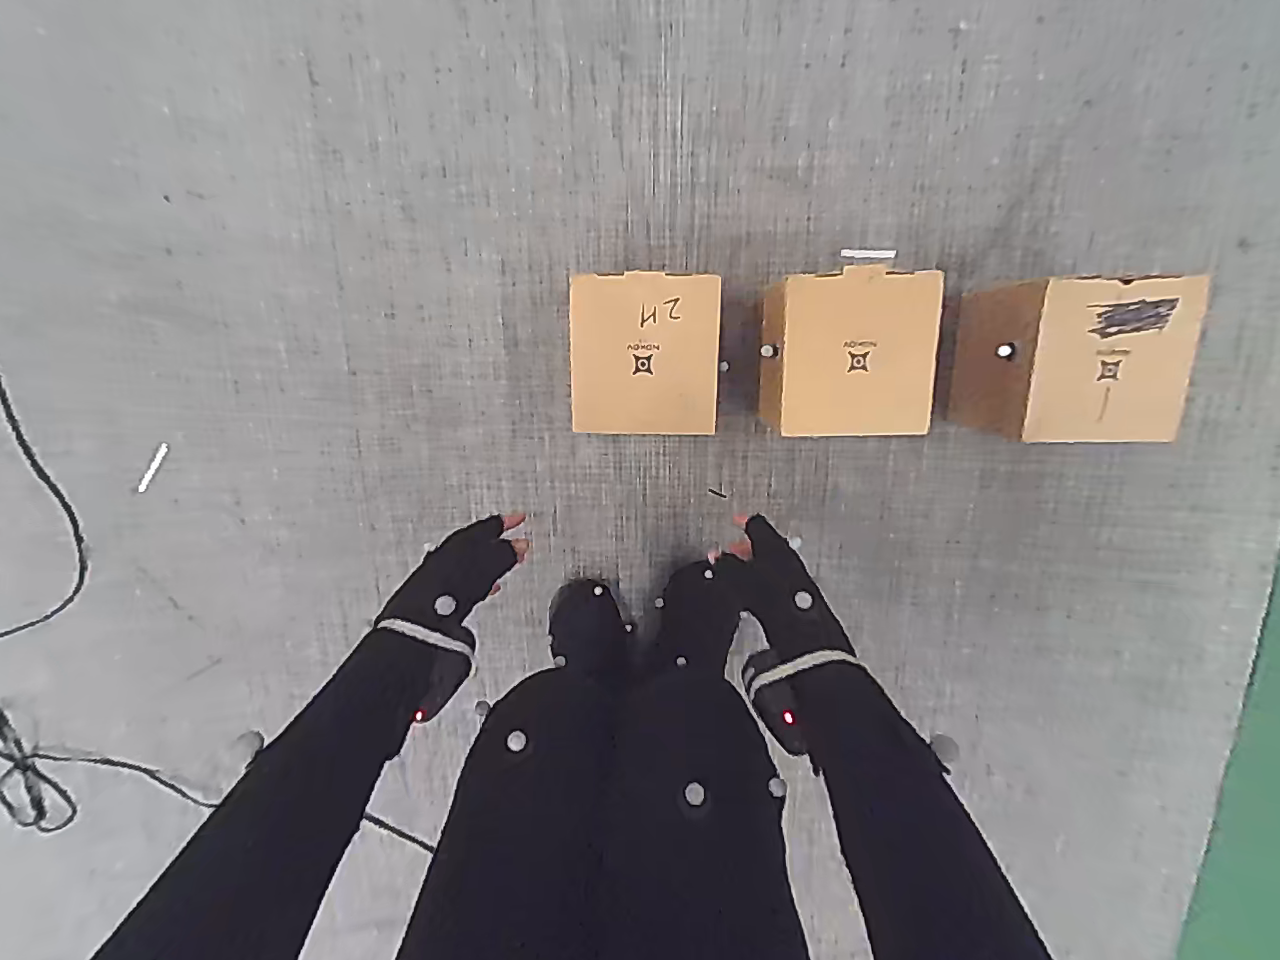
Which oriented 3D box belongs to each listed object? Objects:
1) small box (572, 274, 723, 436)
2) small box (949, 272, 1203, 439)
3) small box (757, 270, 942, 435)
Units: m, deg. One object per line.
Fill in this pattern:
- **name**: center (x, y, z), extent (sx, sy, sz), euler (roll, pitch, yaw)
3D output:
- **small box**: center (0.010, -0.156, 0.677), extent (0.168, 0.176, 0.179), euler (1, 103, 2)
- **small box**: center (0.506, -0.148, 0.659), extent (0.168, 0.176, 0.179), euler (0, 104, 3)
- **small box**: center (0.243, -0.155, 0.670), extent (0.168, 0.176, 0.179), euler (-1, 102, 2)
